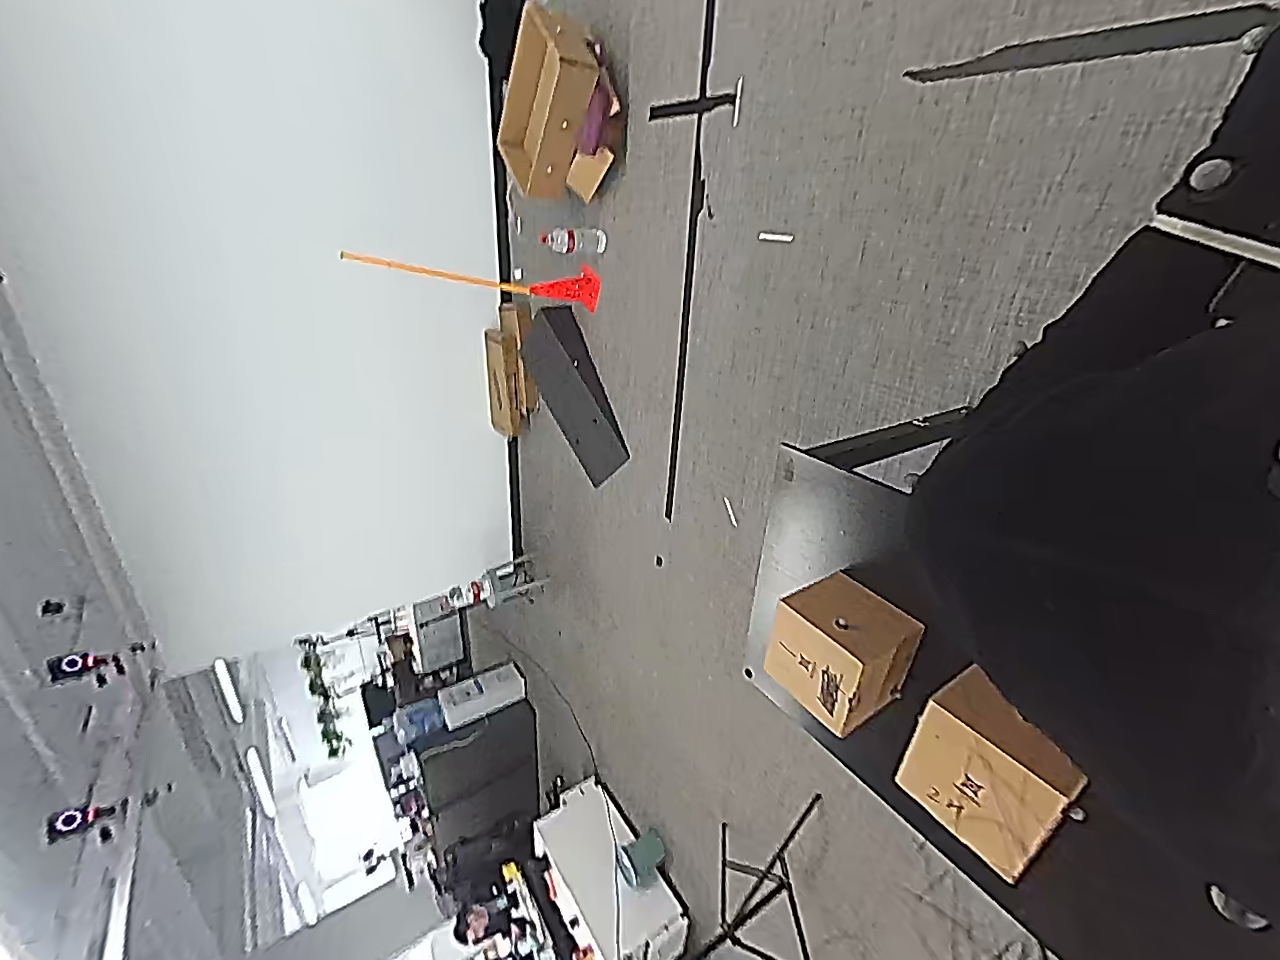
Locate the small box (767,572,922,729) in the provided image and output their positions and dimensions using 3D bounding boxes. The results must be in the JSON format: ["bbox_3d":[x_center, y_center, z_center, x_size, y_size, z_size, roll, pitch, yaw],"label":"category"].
[{"bbox_3d":[0.354,0.284,0.945,0.179,0.176,0.168,37,131,46],"label":"small box"}]

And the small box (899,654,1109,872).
[{"bbox_3d":[0.503,0.377,0.751,0.168,0.176,0.179,36,131,46],"label":"small box"}]
